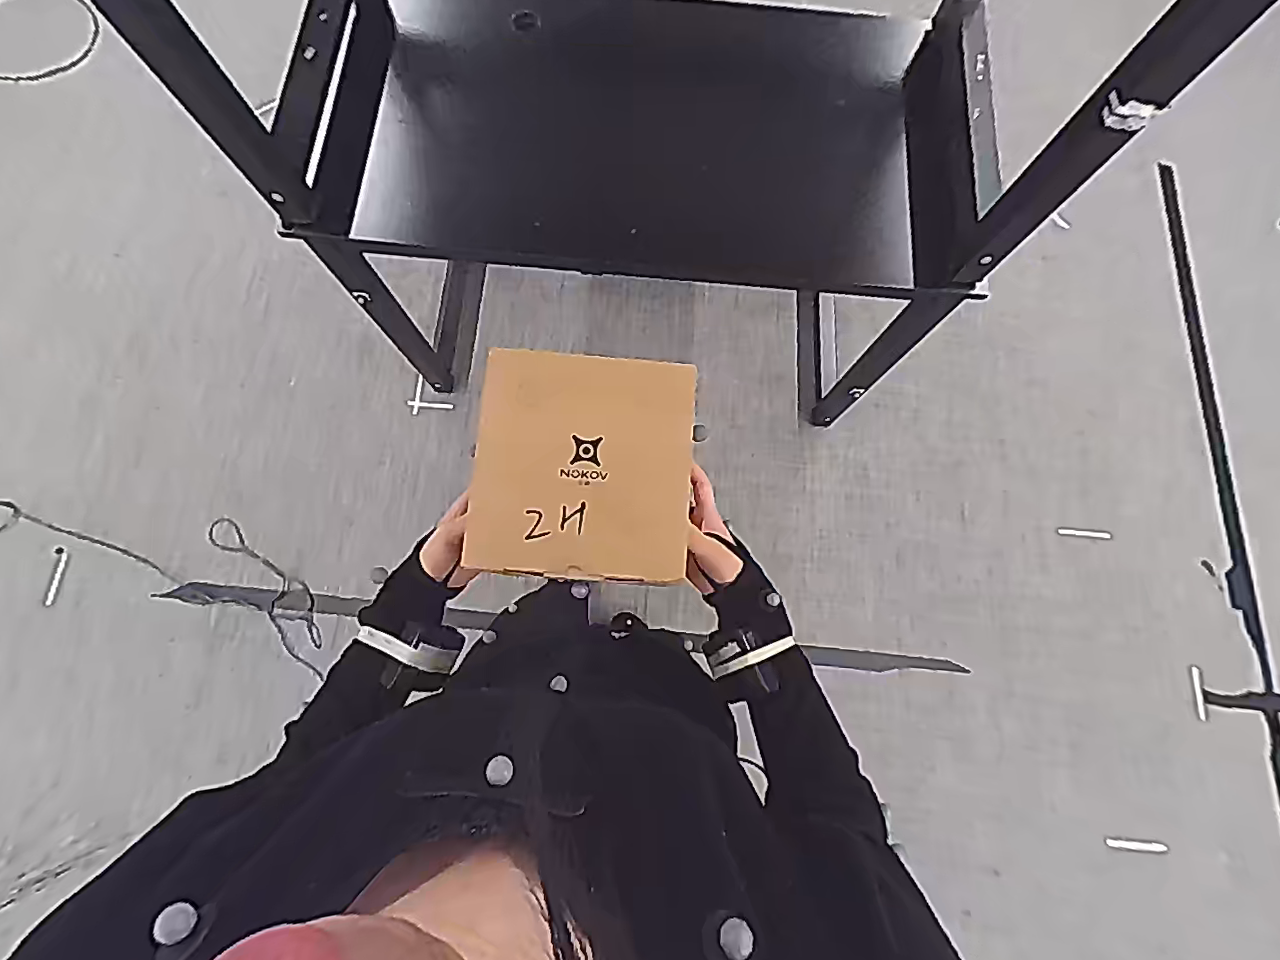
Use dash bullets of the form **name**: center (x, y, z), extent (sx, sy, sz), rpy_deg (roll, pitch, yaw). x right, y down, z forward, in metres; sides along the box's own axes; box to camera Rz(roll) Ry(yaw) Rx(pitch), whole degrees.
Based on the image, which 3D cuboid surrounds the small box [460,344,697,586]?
- **small box**: center (-0.048, 0.000, 0.489), extent (0.168, 0.176, 0.179), rpy_deg (5, 79, -2)
